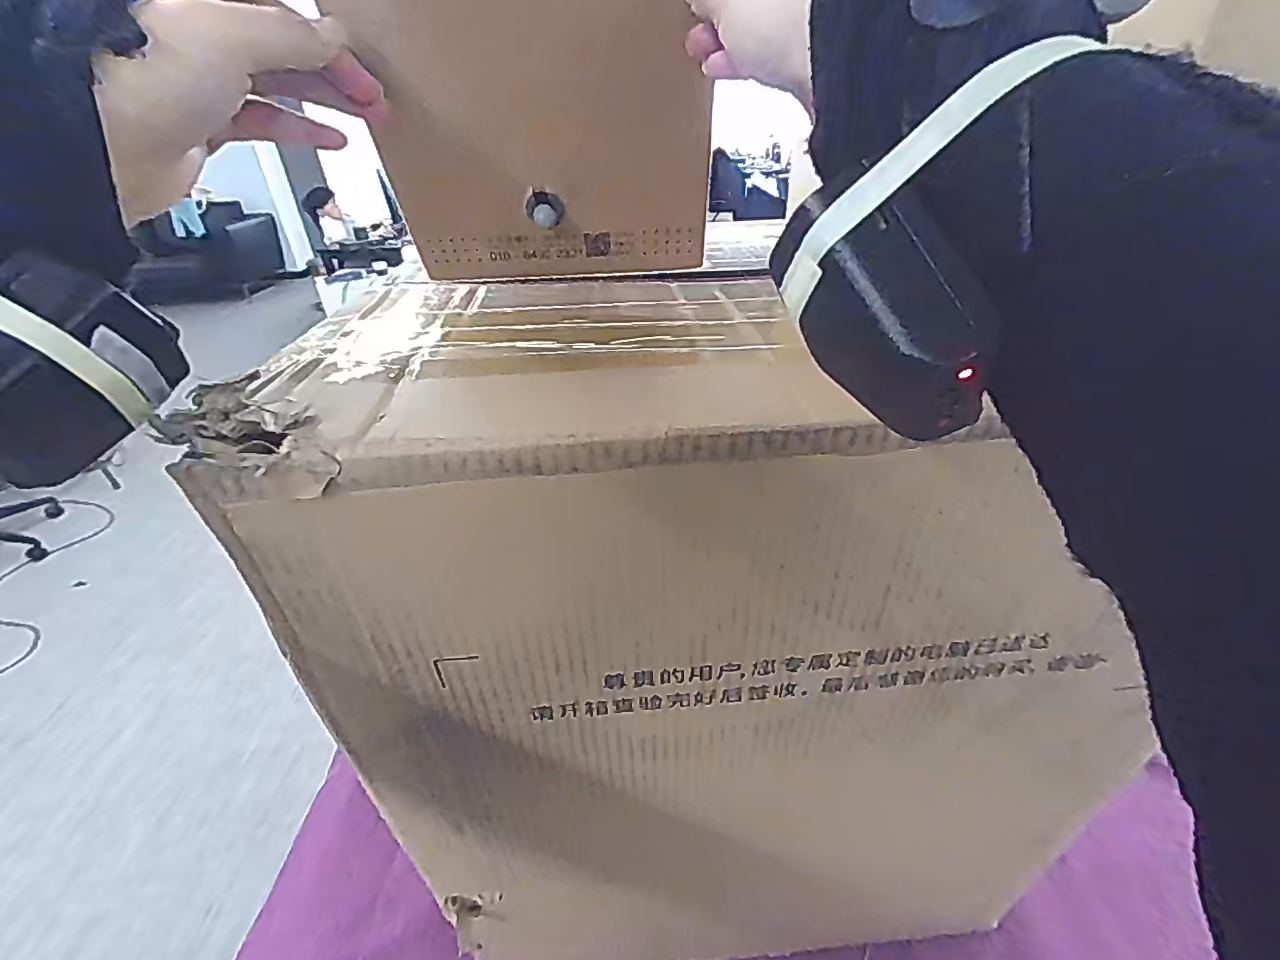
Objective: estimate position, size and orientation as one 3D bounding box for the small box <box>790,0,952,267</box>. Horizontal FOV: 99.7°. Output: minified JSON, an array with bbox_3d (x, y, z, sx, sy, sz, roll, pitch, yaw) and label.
[{"bbox_3d":[0.222,-0.268,0.415,0.168,0.176,0.179,-4,34,0],"label":"small box"}]

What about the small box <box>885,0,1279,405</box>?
[{"bbox_3d":[0.236,-0.150,0.237,0.168,0.176,0.179,-3,33,0],"label":"small box"}]
